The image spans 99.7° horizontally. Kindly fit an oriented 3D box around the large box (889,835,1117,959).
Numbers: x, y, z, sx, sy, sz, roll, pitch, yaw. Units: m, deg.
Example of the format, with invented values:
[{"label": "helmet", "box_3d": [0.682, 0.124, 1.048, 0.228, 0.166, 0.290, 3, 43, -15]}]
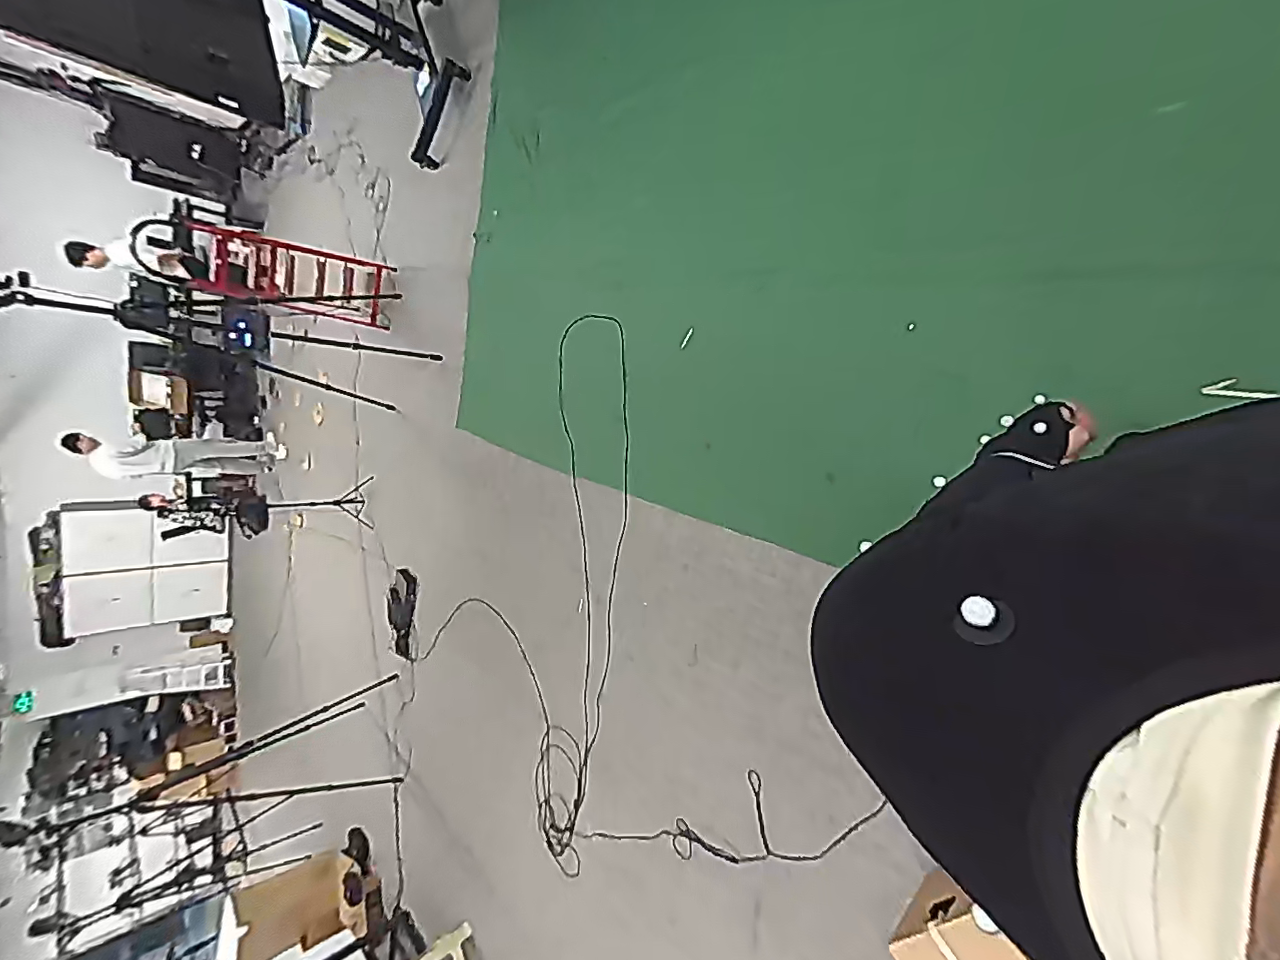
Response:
[{"label": "large box", "box_3d": [0.898, 1.175, 1.289, 0.408, 0.320, 0.320, 53, 124, 29]}]
